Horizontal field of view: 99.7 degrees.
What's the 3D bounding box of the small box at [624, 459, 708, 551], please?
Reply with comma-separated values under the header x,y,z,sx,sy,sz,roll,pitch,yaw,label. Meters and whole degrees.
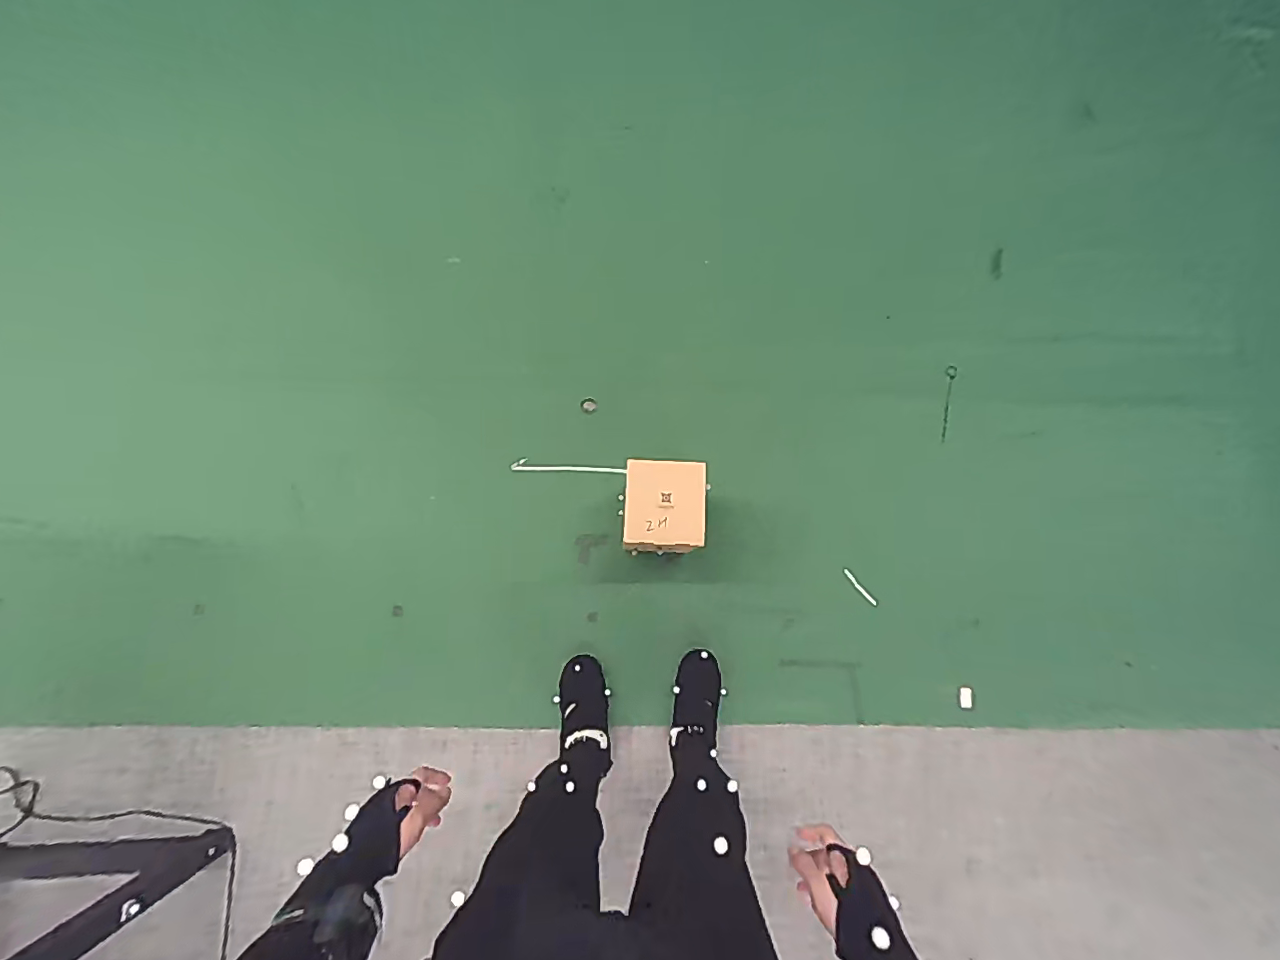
x,y,z,sx,sy,sz,roll,pitch,yaw,label
0.052,0.059,1.179,0.168,0.176,0.179,3,81,-1,small box
